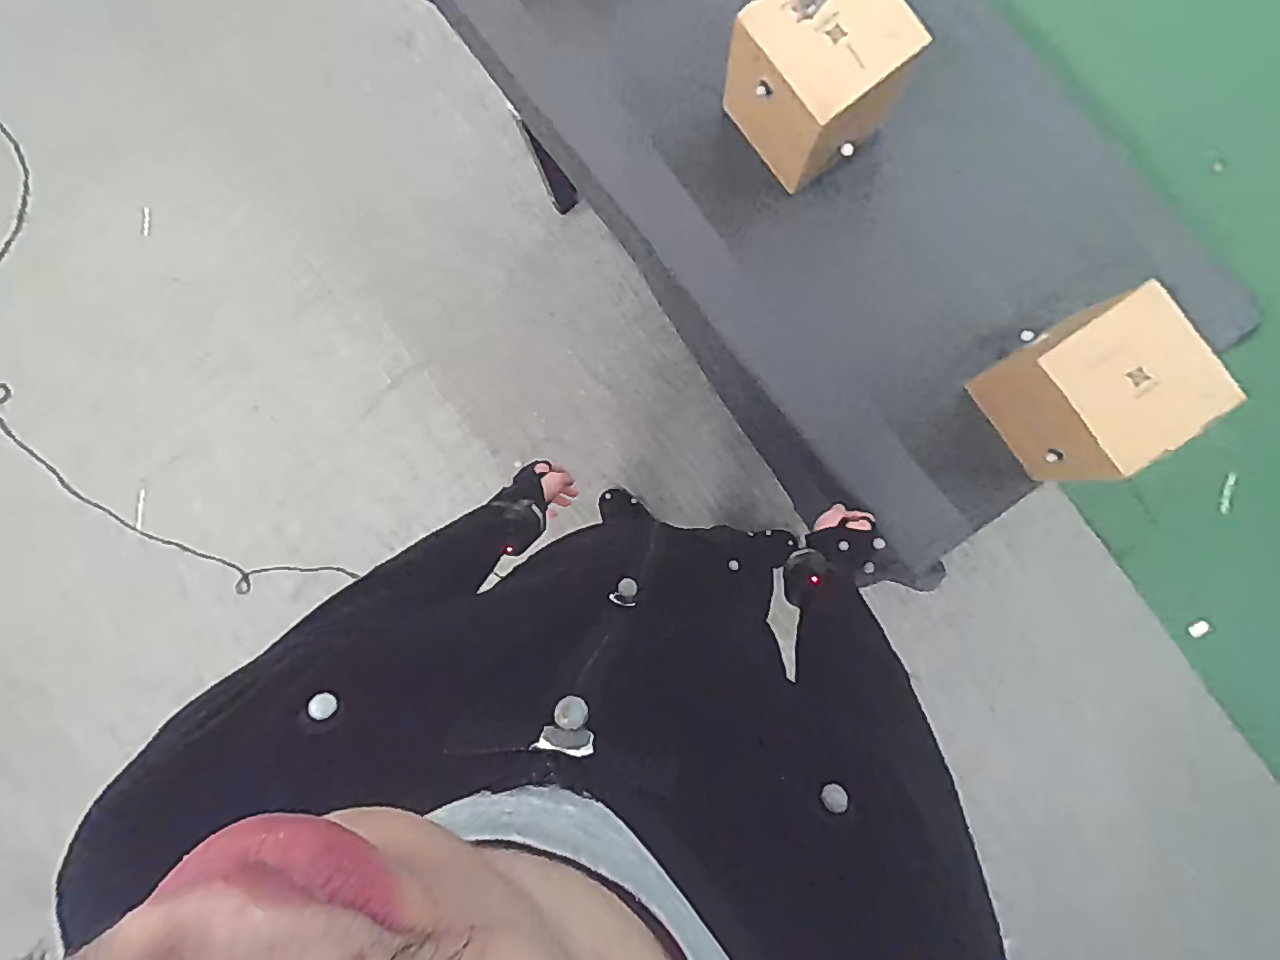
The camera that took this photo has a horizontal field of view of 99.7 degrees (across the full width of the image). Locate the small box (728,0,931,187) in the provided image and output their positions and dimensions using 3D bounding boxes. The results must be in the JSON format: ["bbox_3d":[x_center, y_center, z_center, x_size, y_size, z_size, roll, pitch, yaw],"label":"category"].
[{"bbox_3d":[0.235,-0.543,0.725,0.168,0.176,0.179,-36,89,4],"label":"small box"}]

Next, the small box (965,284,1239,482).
[{"bbox_3d":[0.580,-0.113,0.707,0.168,0.176,0.179,-35,87,3],"label":"small box"}]
